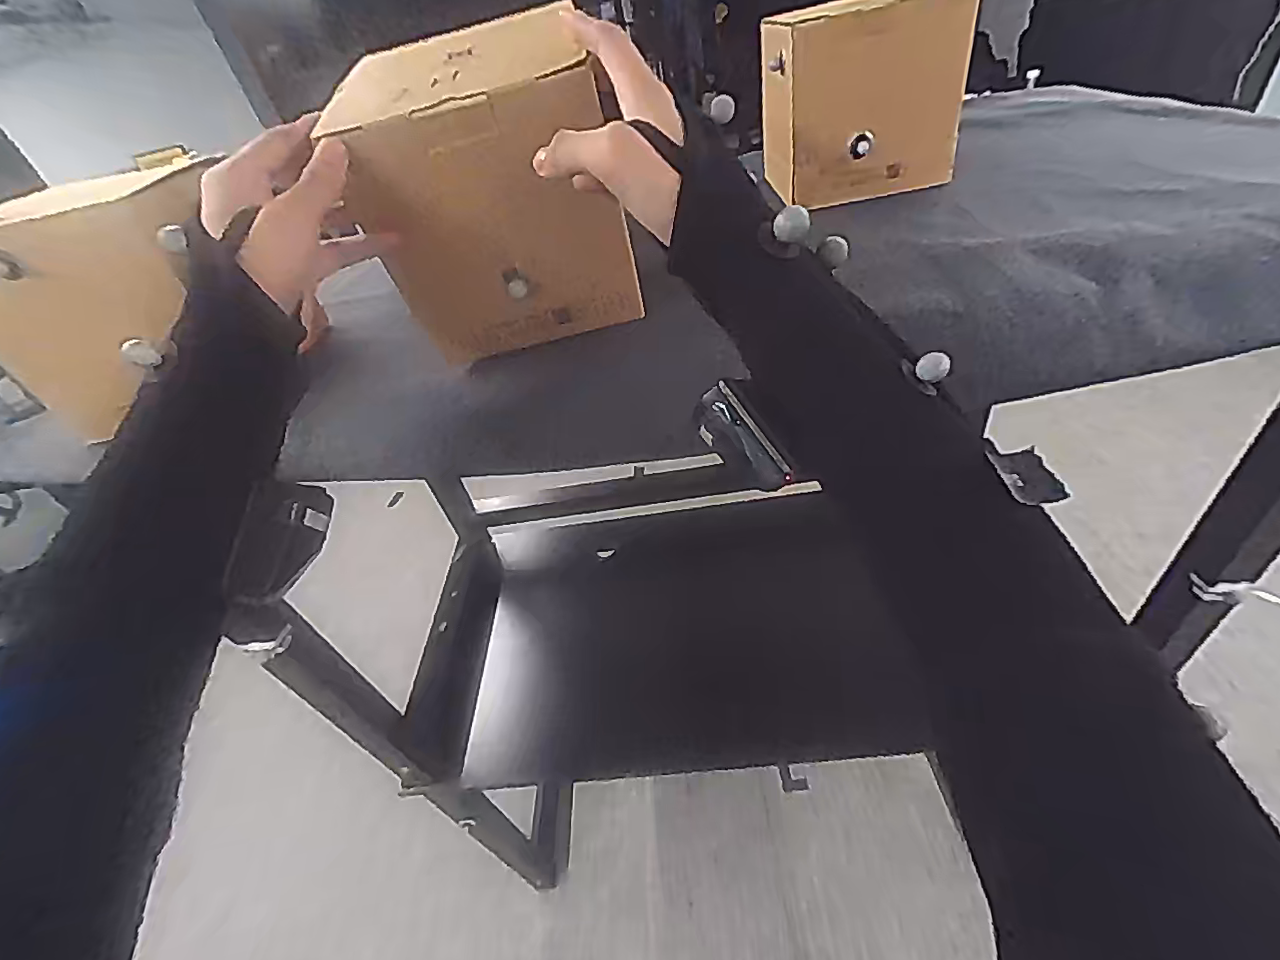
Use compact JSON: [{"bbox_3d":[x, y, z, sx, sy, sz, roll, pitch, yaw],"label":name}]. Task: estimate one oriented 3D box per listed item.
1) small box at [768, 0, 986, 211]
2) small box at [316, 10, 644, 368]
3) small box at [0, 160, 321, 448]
[{"bbox_3d":[0.236,-0.414,0.590,0.168,0.176,0.179,-8,41,7],"label":"small box"},{"bbox_3d":[-0.099,-0.215,0.412,0.168,0.176,0.179,-13,51,4],"label":"small box"},{"bbox_3d":[-0.416,-0.154,0.470,0.168,0.176,0.179,-13,40,1],"label":"small box"}]
